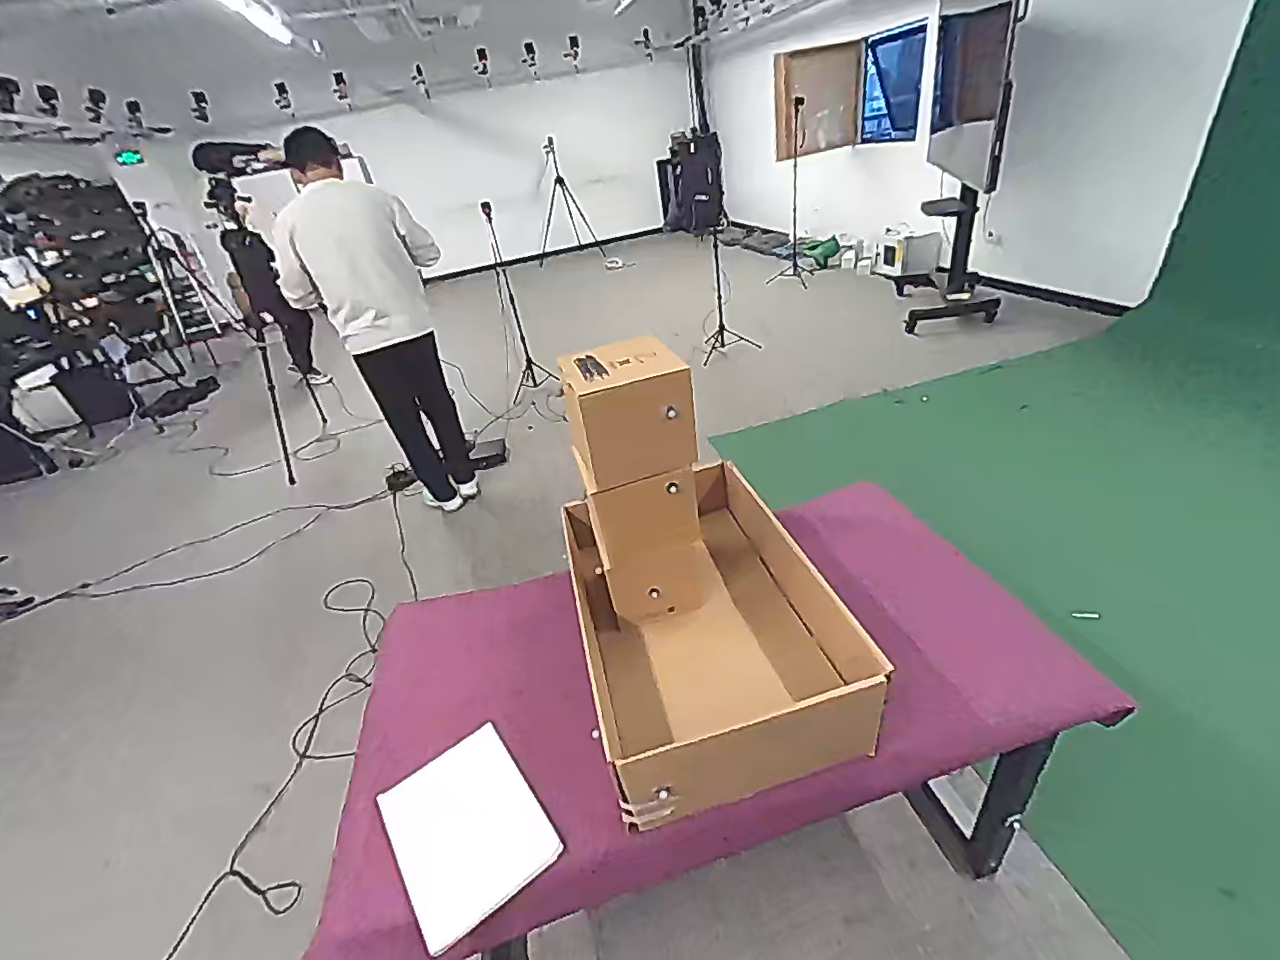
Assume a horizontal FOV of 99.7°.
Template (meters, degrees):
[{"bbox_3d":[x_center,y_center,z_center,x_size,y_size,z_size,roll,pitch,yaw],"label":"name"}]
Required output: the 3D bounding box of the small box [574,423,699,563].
[{"bbox_3d":[-0.005,0.024,0.971,0.179,0.176,0.168,-15,34,-8],"label":"small box"}]

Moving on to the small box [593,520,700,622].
[{"bbox_3d":[0.013,0.157,1.063,0.168,0.176,0.179,-14,34,-6],"label":"small box"}]
